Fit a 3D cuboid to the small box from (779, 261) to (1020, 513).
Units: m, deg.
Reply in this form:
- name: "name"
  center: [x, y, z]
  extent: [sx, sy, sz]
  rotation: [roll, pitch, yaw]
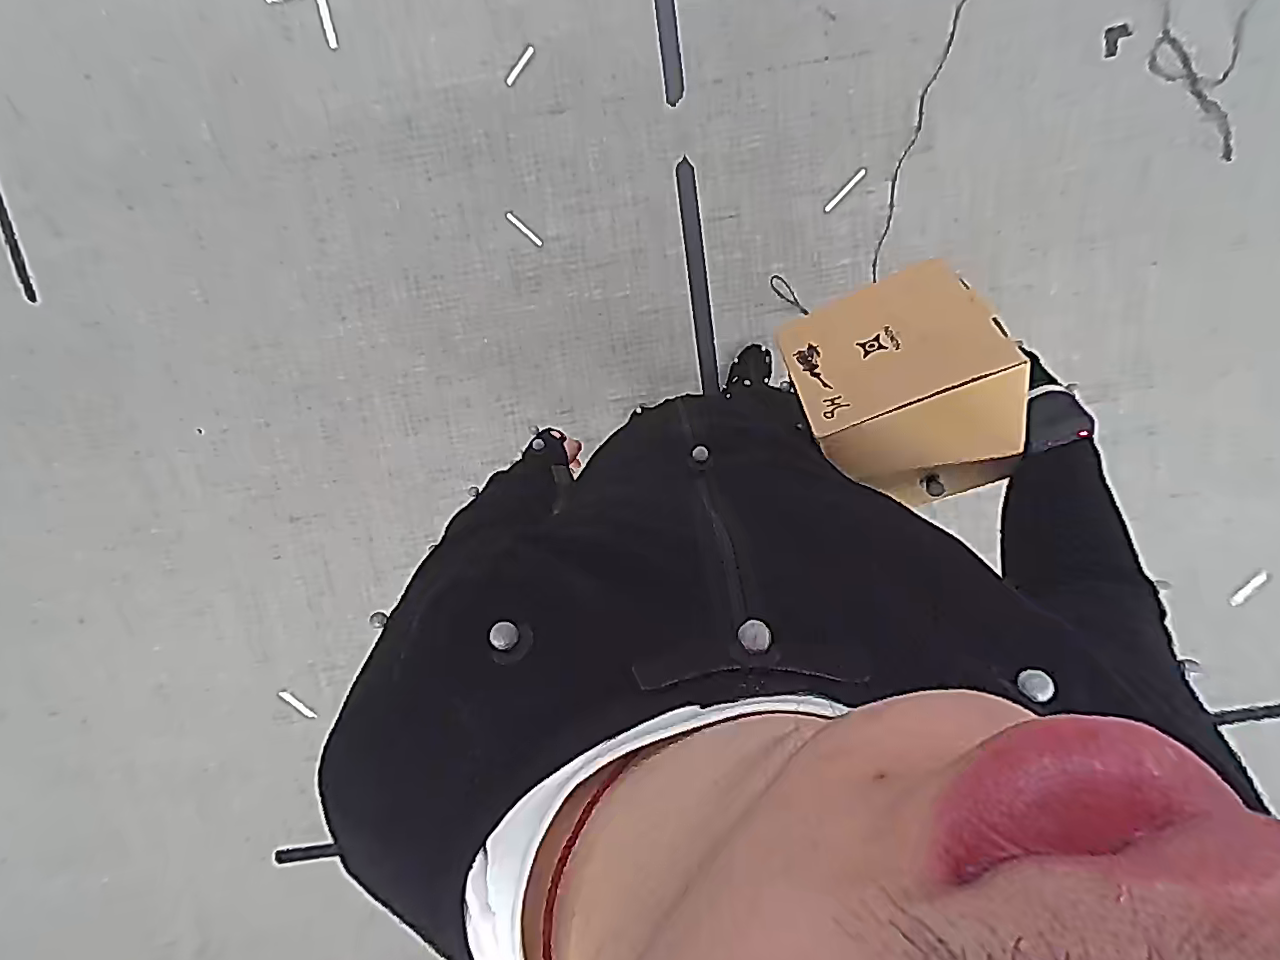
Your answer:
- name: "small box"
  center: [0.273, -0.091, 0.586]
  extent: [0.179, 0.168, 0.176]
  rotation: [-21, 137, 18]
